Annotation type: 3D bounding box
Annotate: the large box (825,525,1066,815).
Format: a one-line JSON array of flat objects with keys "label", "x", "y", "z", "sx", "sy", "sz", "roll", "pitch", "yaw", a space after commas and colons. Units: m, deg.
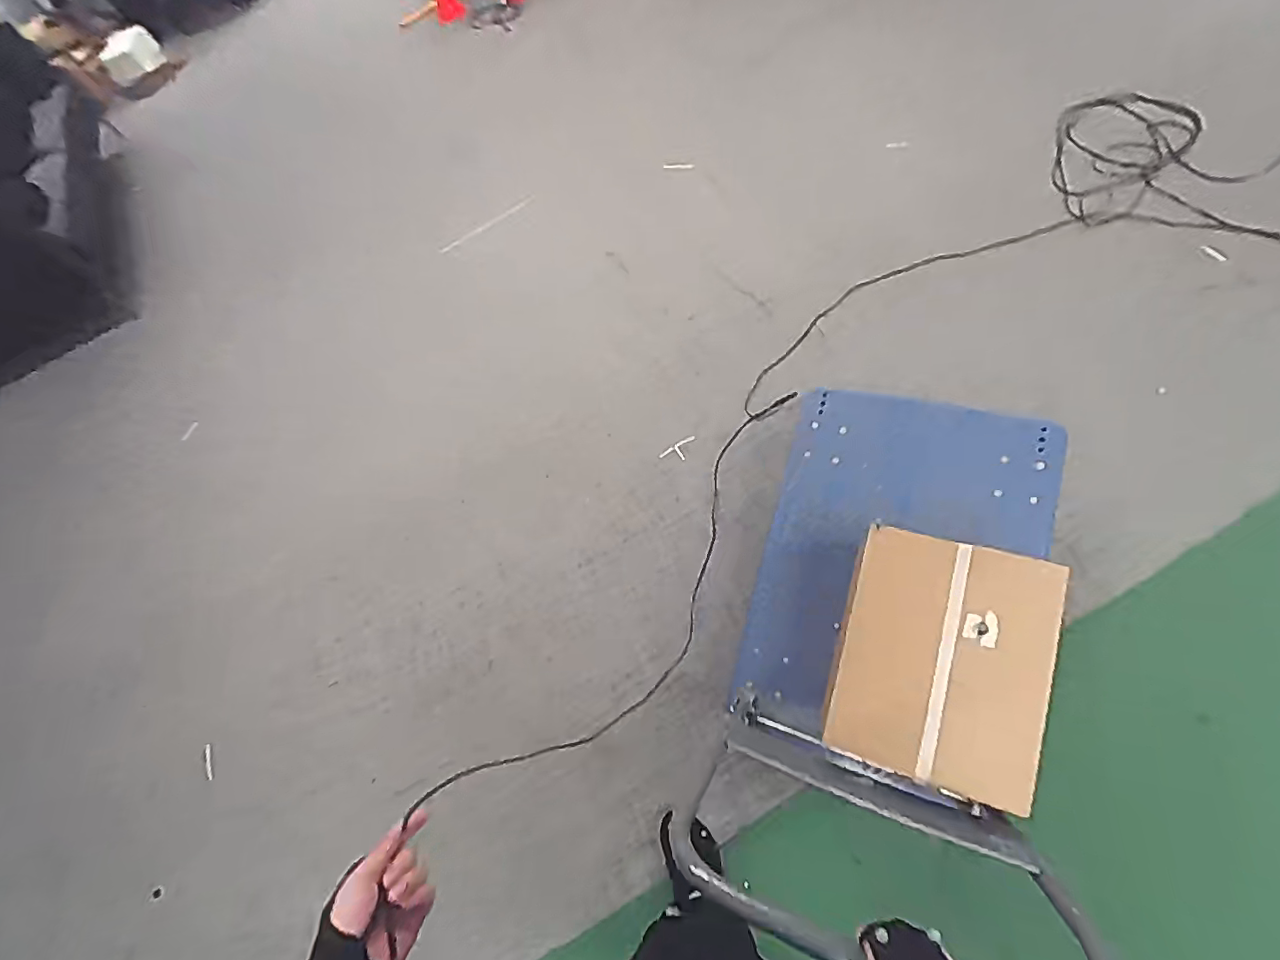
[{"label": "large box", "x": 0.562, "y": 0.341, "z": 1.058, "sx": 0.320, "sy": 0.320, "sz": 0.408, "roll": 14, "pitch": 81, "yaw": 21}]
